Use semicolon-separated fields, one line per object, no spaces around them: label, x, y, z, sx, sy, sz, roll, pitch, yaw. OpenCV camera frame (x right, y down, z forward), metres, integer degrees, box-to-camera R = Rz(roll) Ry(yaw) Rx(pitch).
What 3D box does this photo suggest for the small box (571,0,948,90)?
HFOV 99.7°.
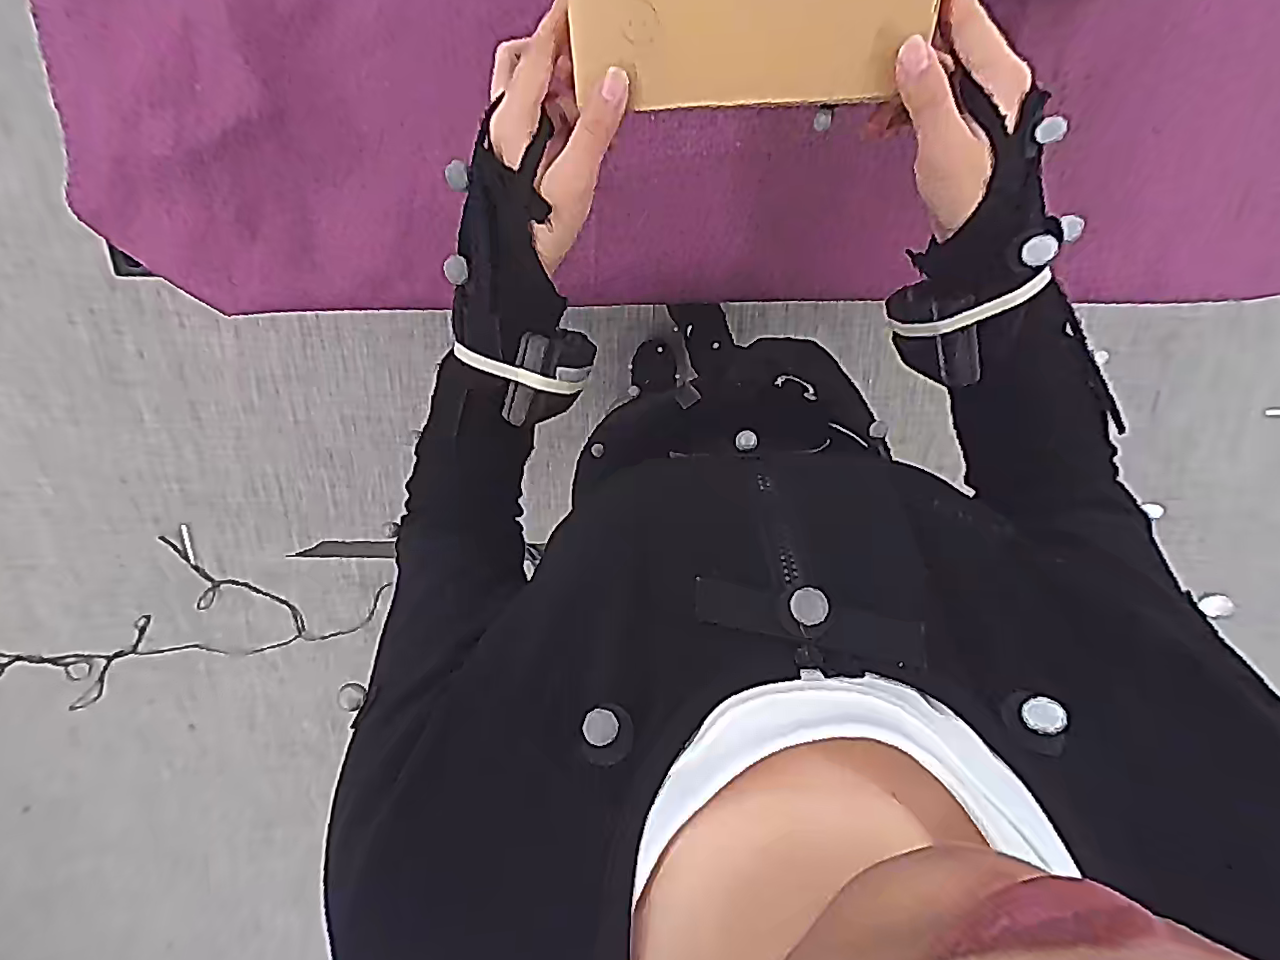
small box;0.055;-0.310;0.284;0.179;0.176;0.168;-2;127;2
